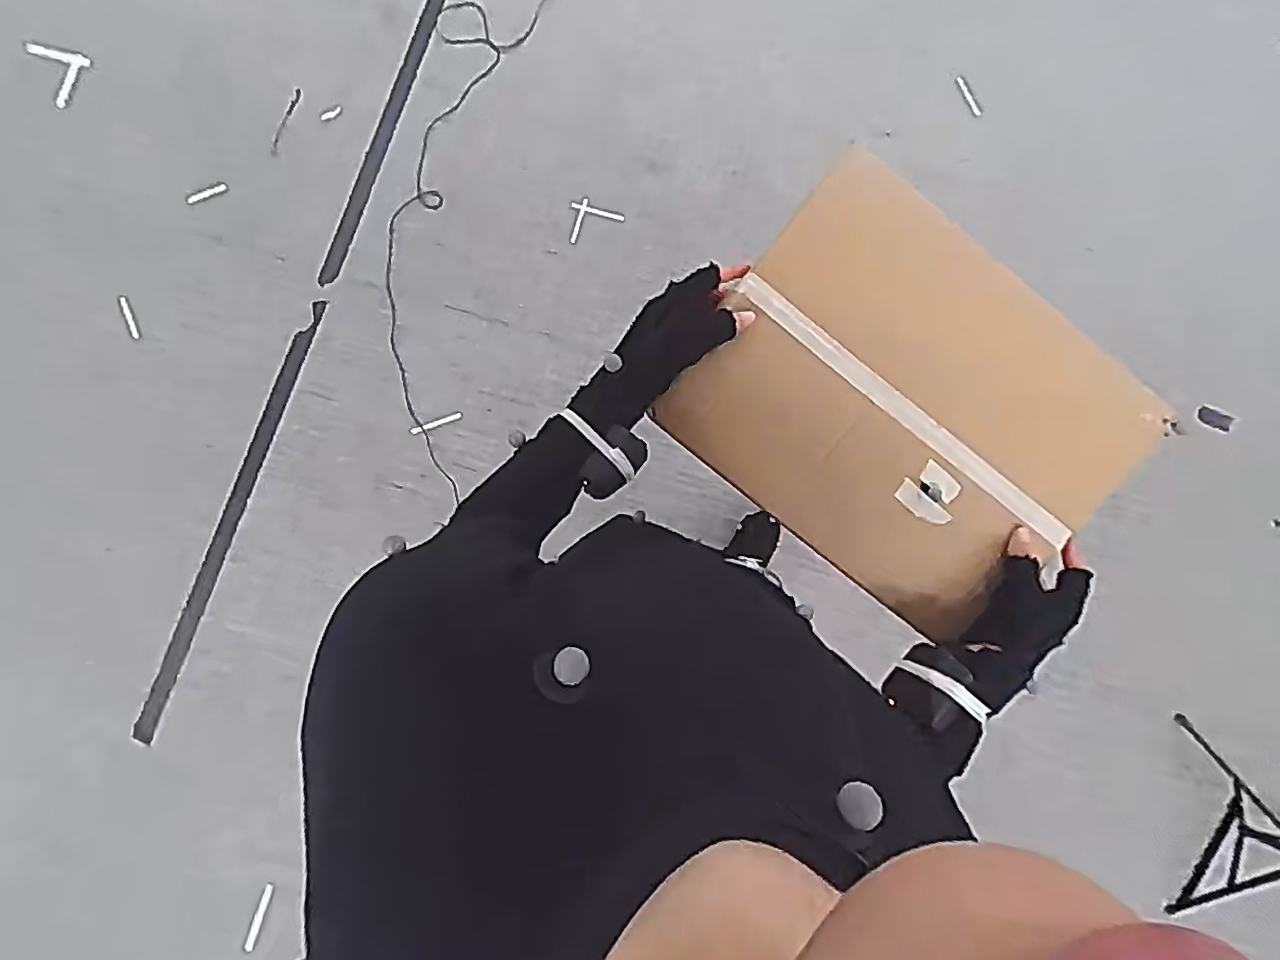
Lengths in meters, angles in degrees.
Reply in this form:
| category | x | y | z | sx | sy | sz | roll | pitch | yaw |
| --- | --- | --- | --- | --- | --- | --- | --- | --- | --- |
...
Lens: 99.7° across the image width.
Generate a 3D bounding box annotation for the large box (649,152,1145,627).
| category | x | y | z | sx | sy | sz | roll | pitch | yaw |
| --- | --- | --- | --- | --- | --- | --- | --- | --- | --- |
| large box | 0.257 | -0.099 | 0.689 | 0.408 | 0.320 | 0.320 | 38 | 98 | -4 |
